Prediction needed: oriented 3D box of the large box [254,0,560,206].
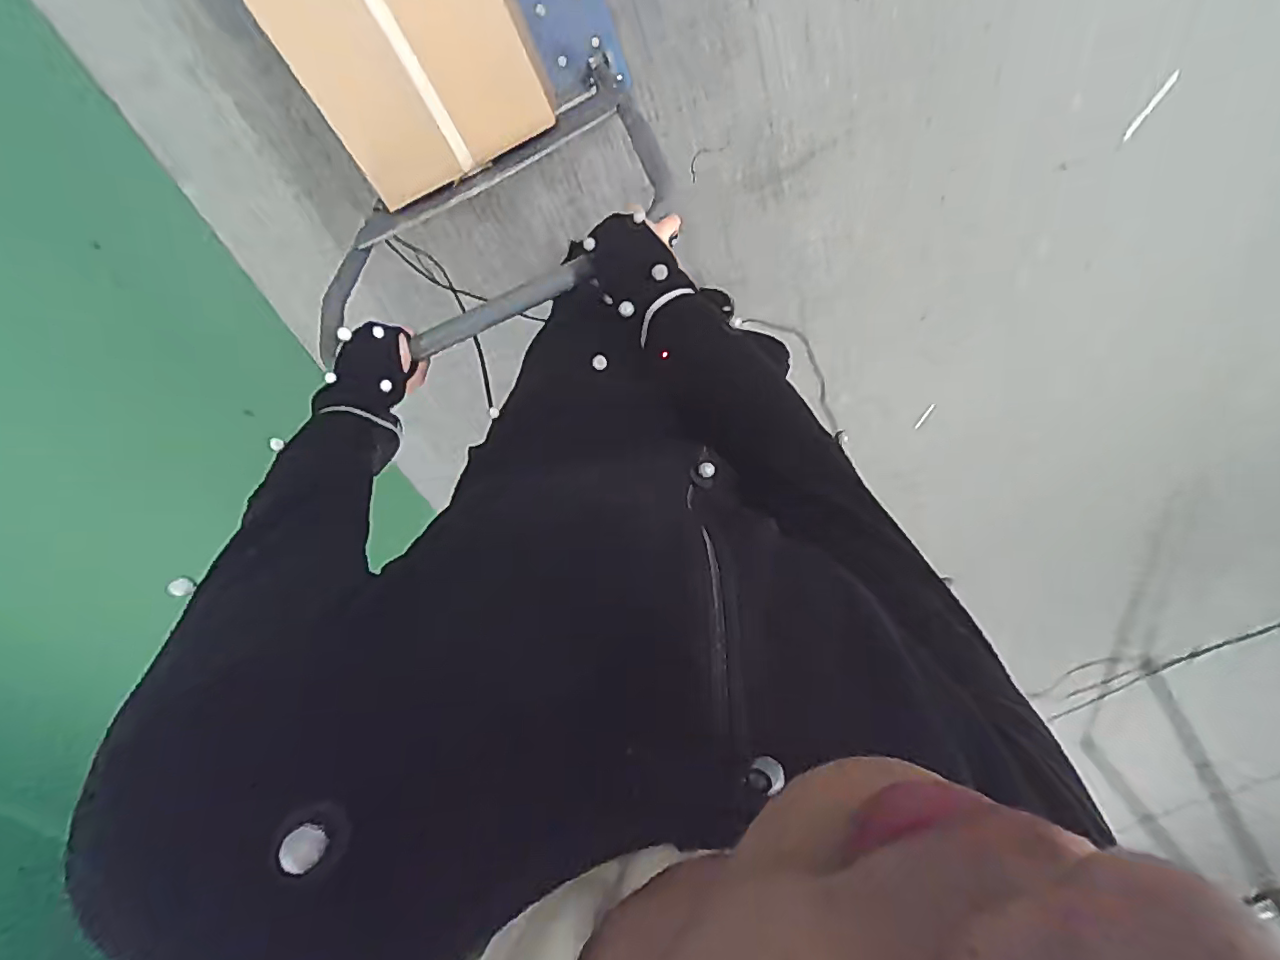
[{"bbox_3d":[-0.358,-0.739,0.867,0.320,0.320,0.408,-22,130,10],"label":"large box"}]
